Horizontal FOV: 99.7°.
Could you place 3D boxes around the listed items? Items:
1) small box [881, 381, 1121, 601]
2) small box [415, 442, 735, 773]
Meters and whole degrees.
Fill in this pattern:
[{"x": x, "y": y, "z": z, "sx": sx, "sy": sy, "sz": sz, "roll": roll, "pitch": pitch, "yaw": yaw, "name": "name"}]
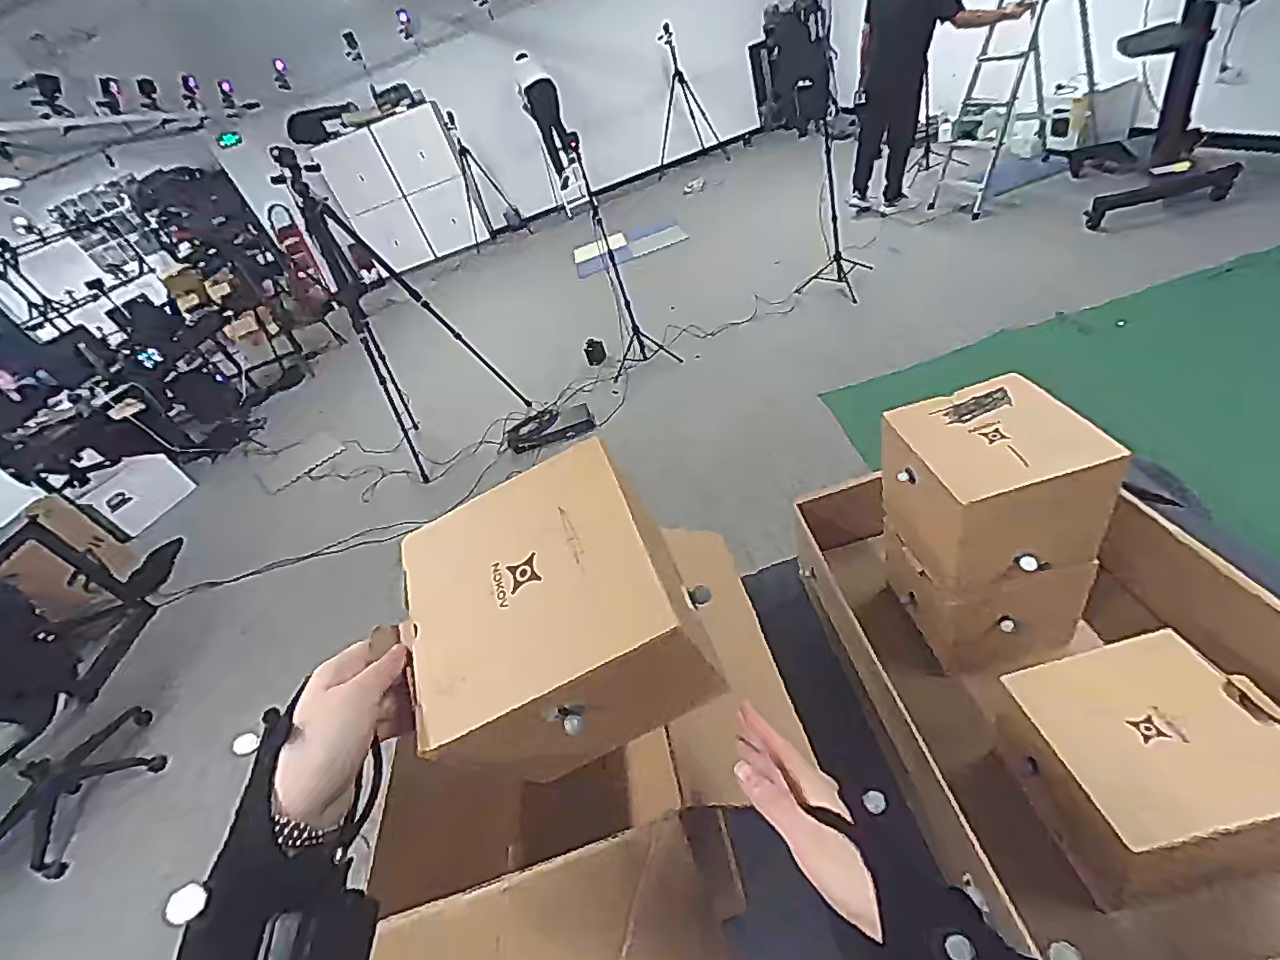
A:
[{"x": 0.407, "y": 0.013, "z": 0.650, "sx": 0.168, "sy": 0.176, "sz": 0.179, "roll": -18, "pitch": 39, "yaw": 5, "name": "small box"}, {"x": -0.046, "y": 0.109, "z": 0.425, "sx": 0.179, "sy": 0.176, "sz": 0.168, "roll": -27, "pitch": 53, "yaw": 4, "name": "small box"}]
